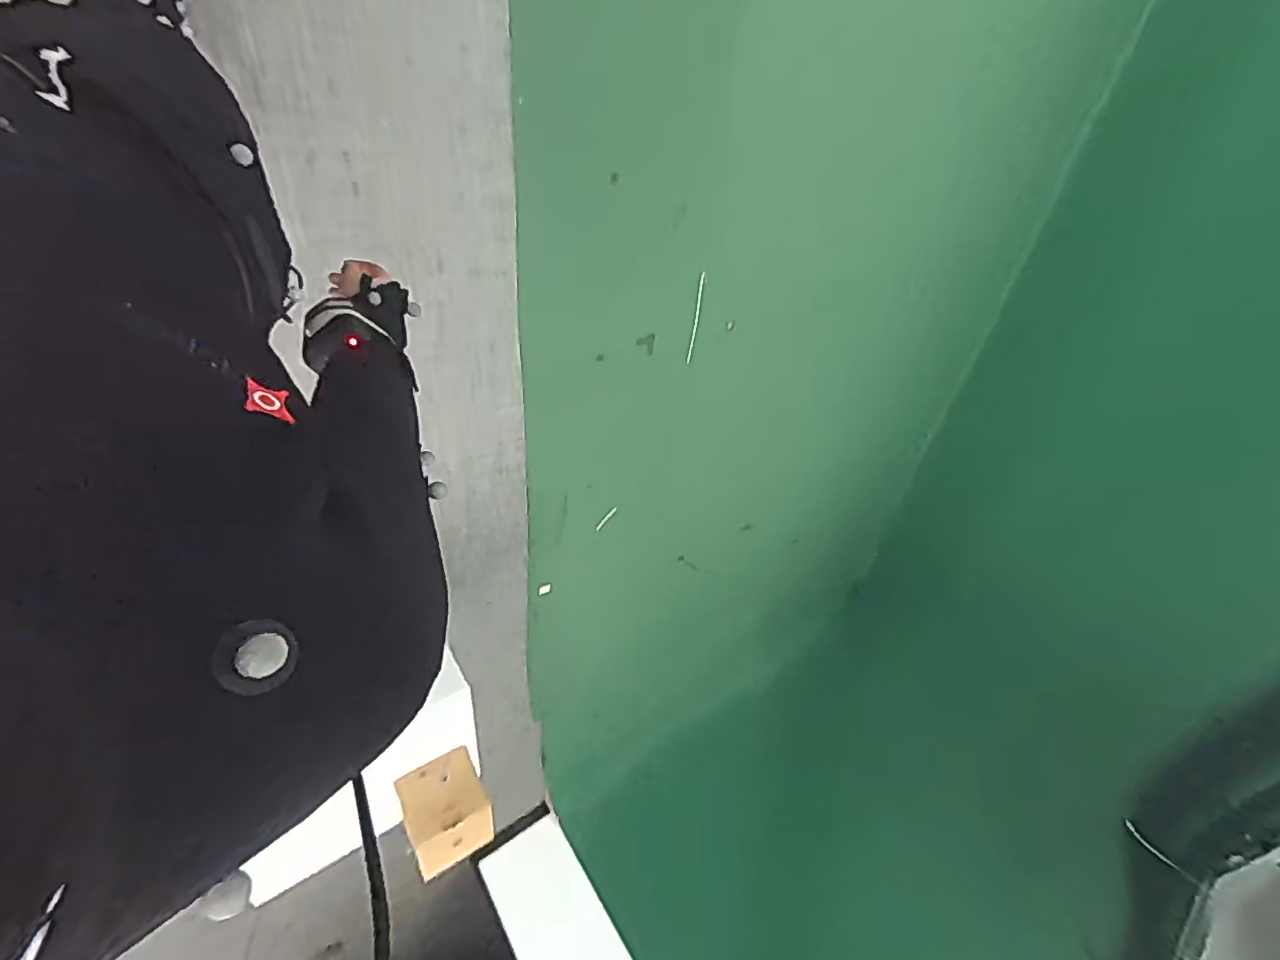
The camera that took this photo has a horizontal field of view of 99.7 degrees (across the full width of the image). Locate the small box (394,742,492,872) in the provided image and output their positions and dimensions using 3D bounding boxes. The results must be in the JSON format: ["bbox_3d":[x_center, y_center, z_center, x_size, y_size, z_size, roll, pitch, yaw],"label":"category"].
[{"bbox_3d":[-0.458,0.756,1.264,0.168,0.176,0.179,-18,132,-32],"label":"small box"}]
